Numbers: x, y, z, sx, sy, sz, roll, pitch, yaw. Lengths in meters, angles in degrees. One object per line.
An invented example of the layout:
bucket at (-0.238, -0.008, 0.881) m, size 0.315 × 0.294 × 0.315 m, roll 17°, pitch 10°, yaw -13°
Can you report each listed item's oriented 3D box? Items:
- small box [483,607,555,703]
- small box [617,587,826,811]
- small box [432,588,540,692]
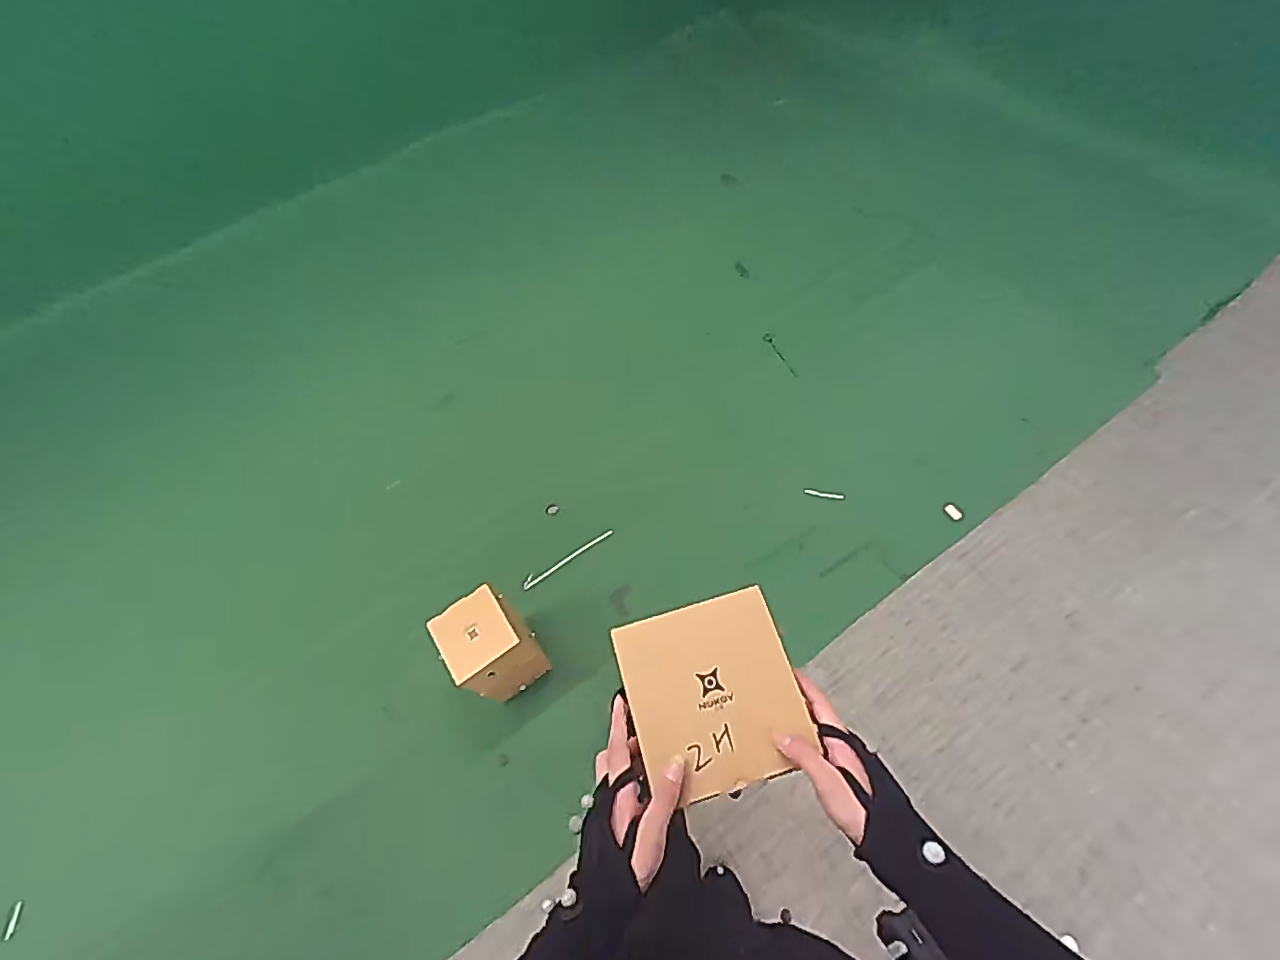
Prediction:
small box at (-0.355, 0.477, 1.460) m, size 0.168 × 0.176 × 0.179 m, roll -34°, pitch 64°, yaw -12°
small box at (0.078, 0.241, 0.602) m, size 0.168 × 0.176 × 0.179 m, roll -16°, pitch 65°, yaw -3°
small box at (-0.368, 0.398, 1.321) m, size 0.168 × 0.176 × 0.179 m, roll -34°, pitch 62°, yaw -11°
